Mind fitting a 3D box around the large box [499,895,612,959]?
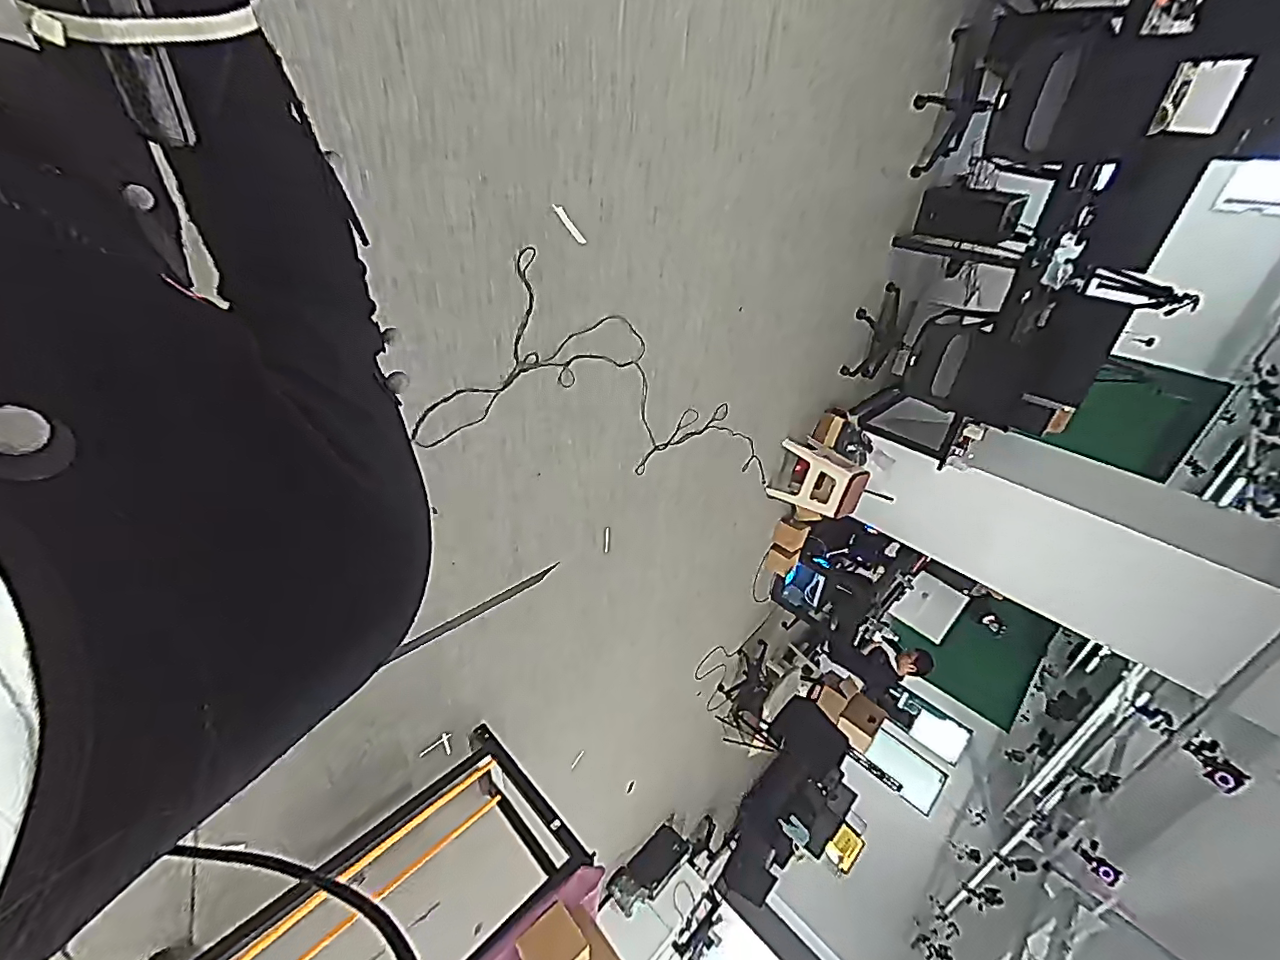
[{"bbox_3d":[-0.293,1.848,1.981,0.320,0.320,0.408,-26,132,-37],"label":"large box"}]
